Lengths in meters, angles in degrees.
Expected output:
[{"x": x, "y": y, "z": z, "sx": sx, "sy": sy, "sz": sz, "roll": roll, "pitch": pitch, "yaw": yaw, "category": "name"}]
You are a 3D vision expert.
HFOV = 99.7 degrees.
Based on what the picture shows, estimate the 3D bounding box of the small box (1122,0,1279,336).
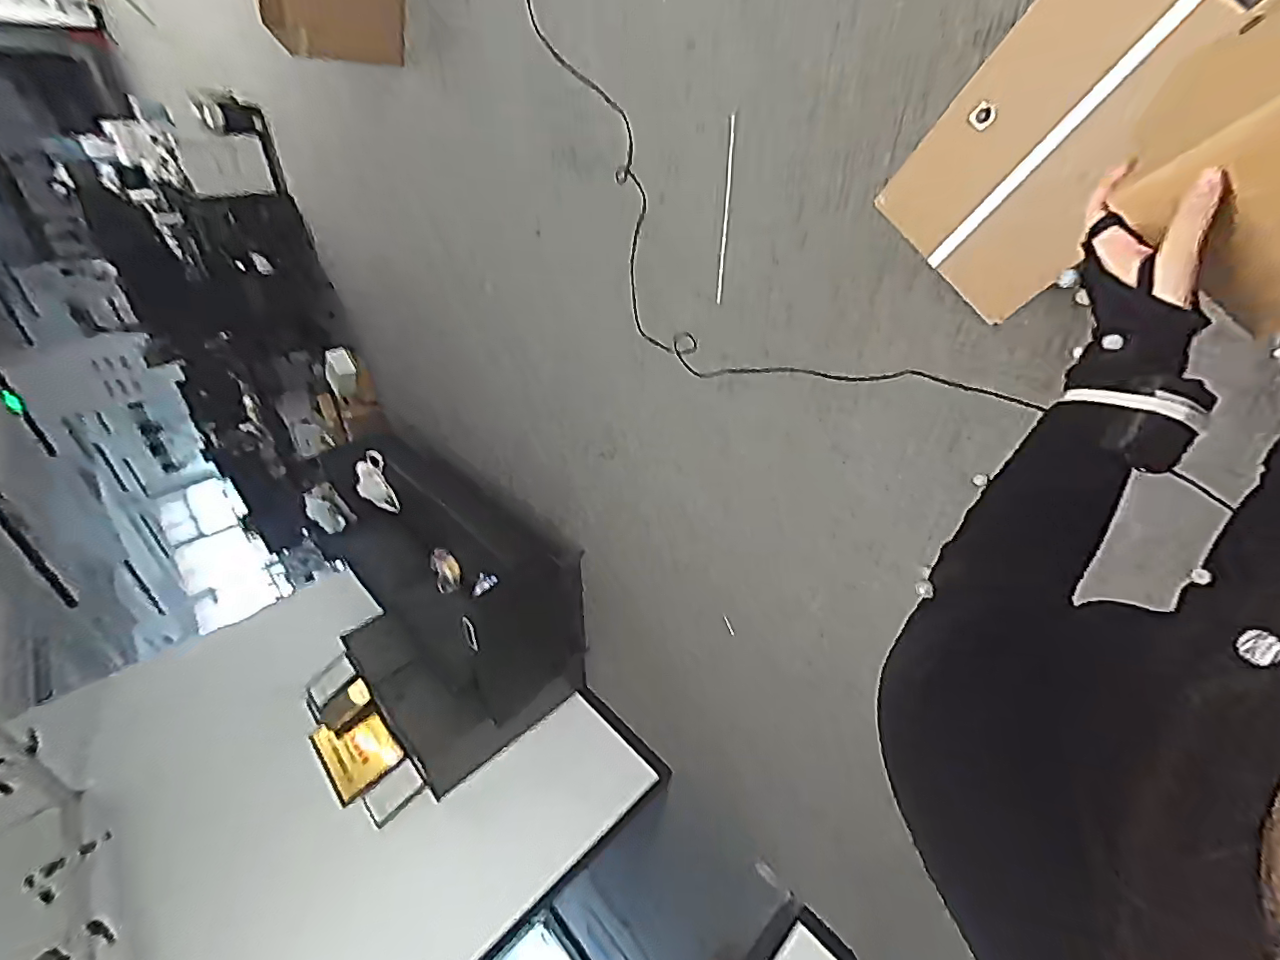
[{"x": 0.488, "y": -0.239, "z": 0.361, "sx": 0.179, "sy": 0.176, "sz": 0.168, "roll": 34, "pitch": 164, "yaw": -8, "category": "small box"}]
